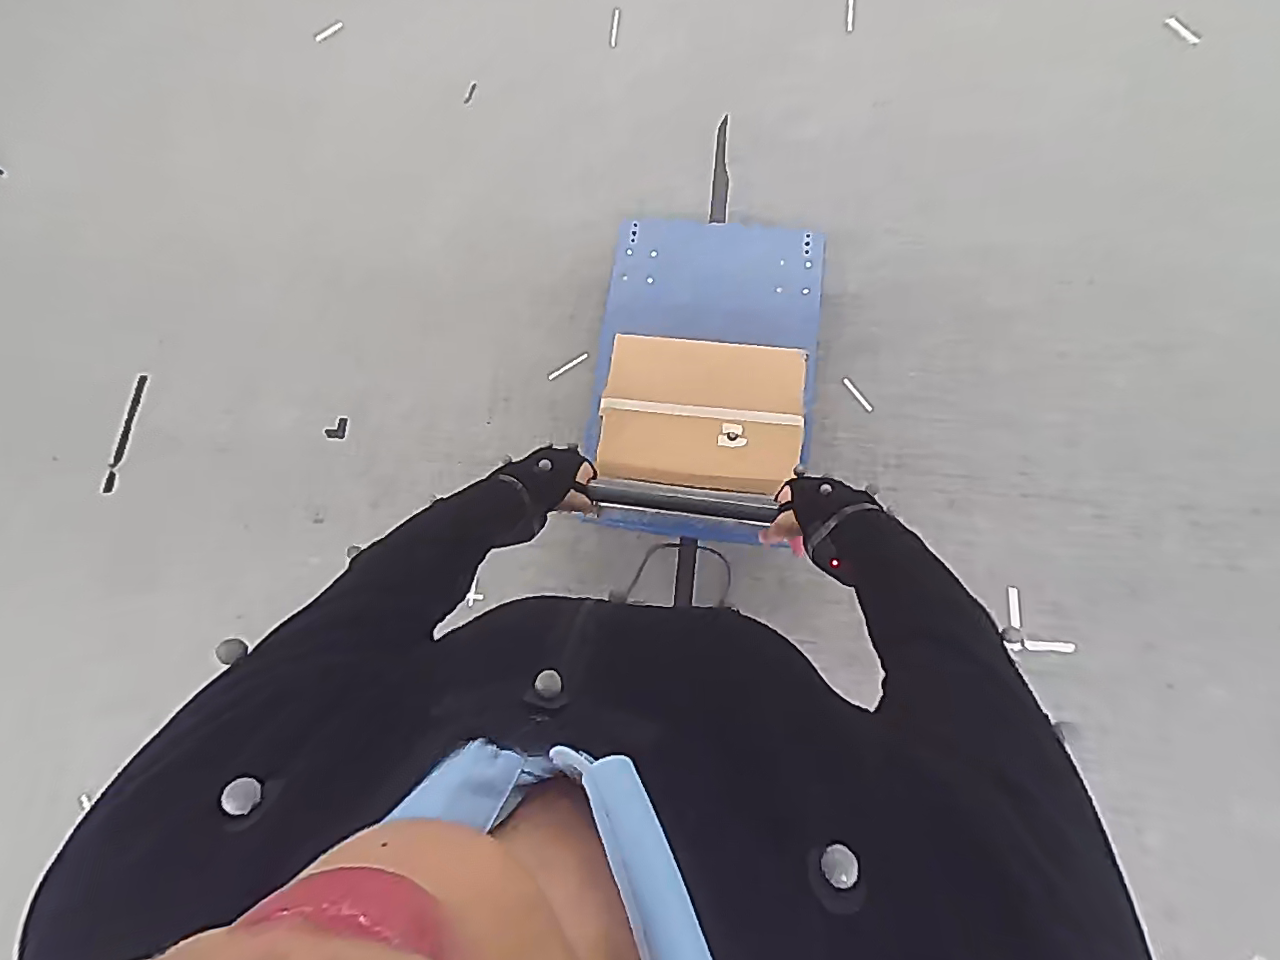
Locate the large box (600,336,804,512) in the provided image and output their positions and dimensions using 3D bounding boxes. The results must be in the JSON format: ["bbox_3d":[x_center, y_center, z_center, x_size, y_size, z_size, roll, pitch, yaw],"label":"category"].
[{"bbox_3d":[0.138,-0.114,1.262,0.408,0.320,0.320,6,80,5],"label":"large box"}]
